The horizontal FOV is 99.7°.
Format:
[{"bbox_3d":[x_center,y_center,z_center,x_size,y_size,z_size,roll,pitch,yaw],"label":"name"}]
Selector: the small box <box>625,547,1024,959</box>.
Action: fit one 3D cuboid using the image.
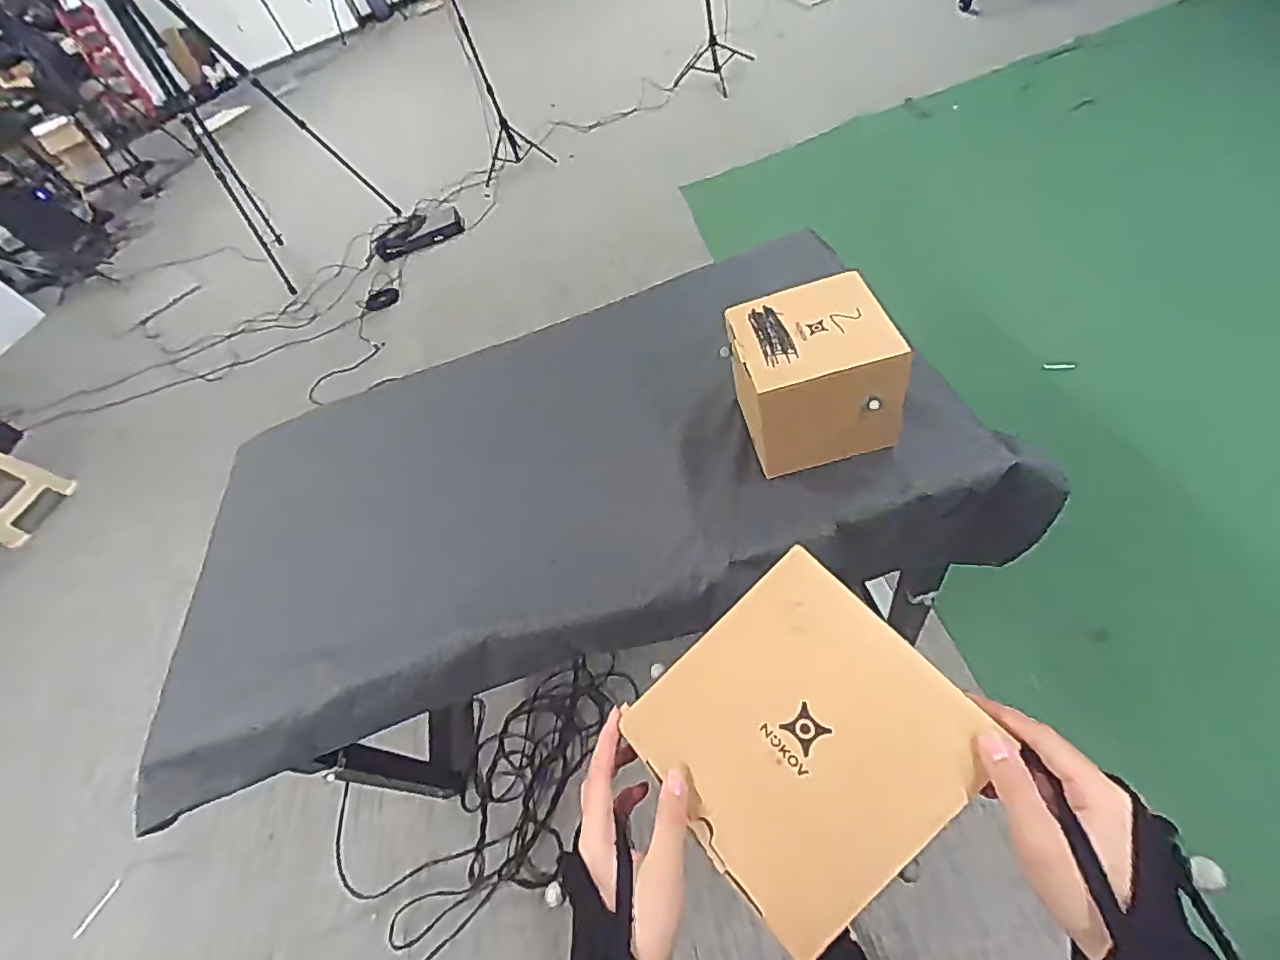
[{"bbox_3d":[0.121,0.179,0.399,0.179,0.176,0.168,-44,65,-2],"label":"small box"}]
